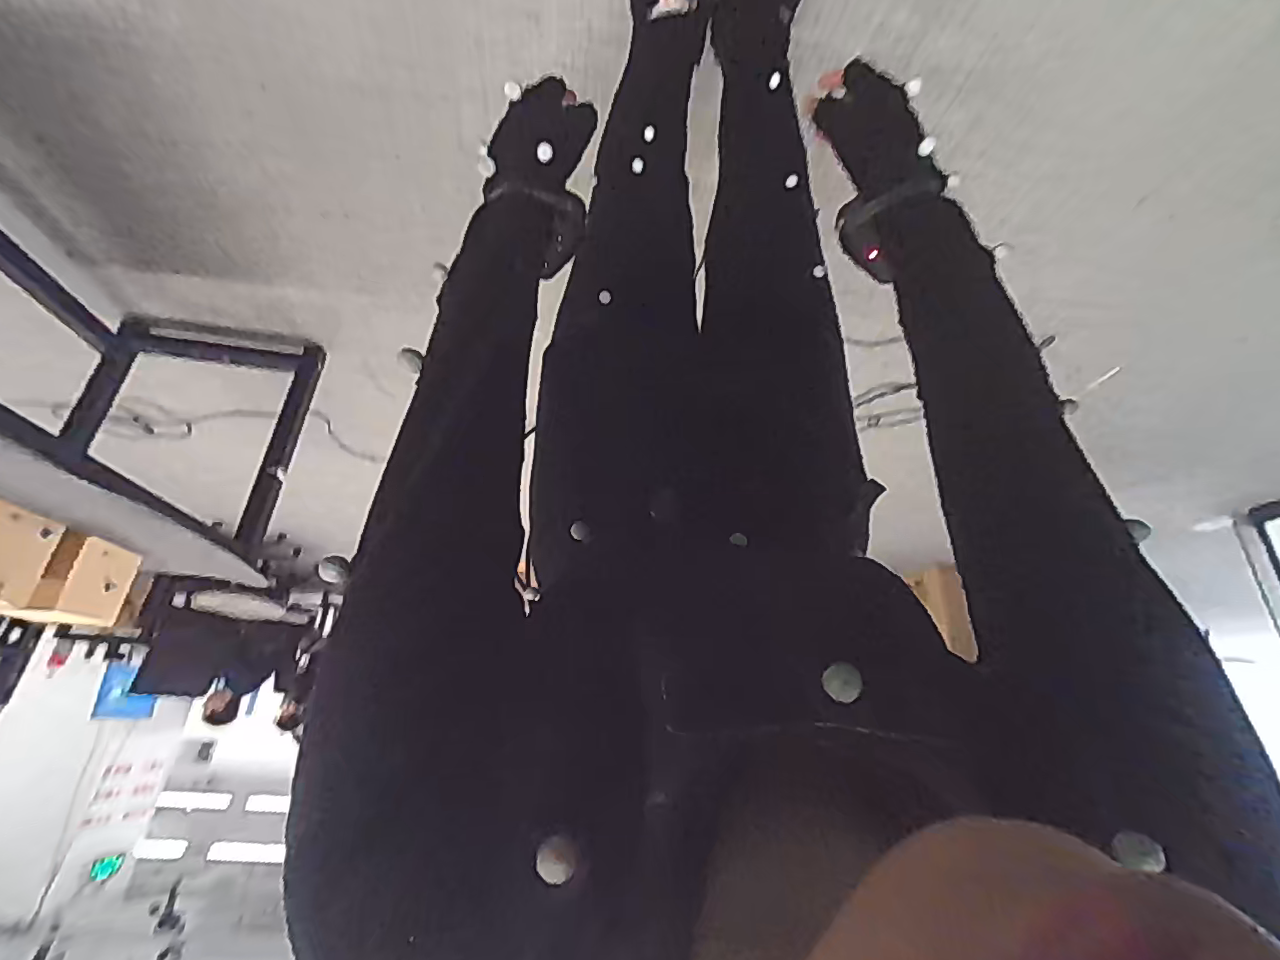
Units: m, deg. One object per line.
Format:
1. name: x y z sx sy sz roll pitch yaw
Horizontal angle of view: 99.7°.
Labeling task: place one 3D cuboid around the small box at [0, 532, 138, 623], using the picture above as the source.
1. small box: -1.256 0.209 1.177 0.179 0.176 0.168 7 156 -5

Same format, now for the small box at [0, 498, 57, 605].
1. small box: -1.227 0.120 0.974 0.179 0.176 0.168 7 155 -5
